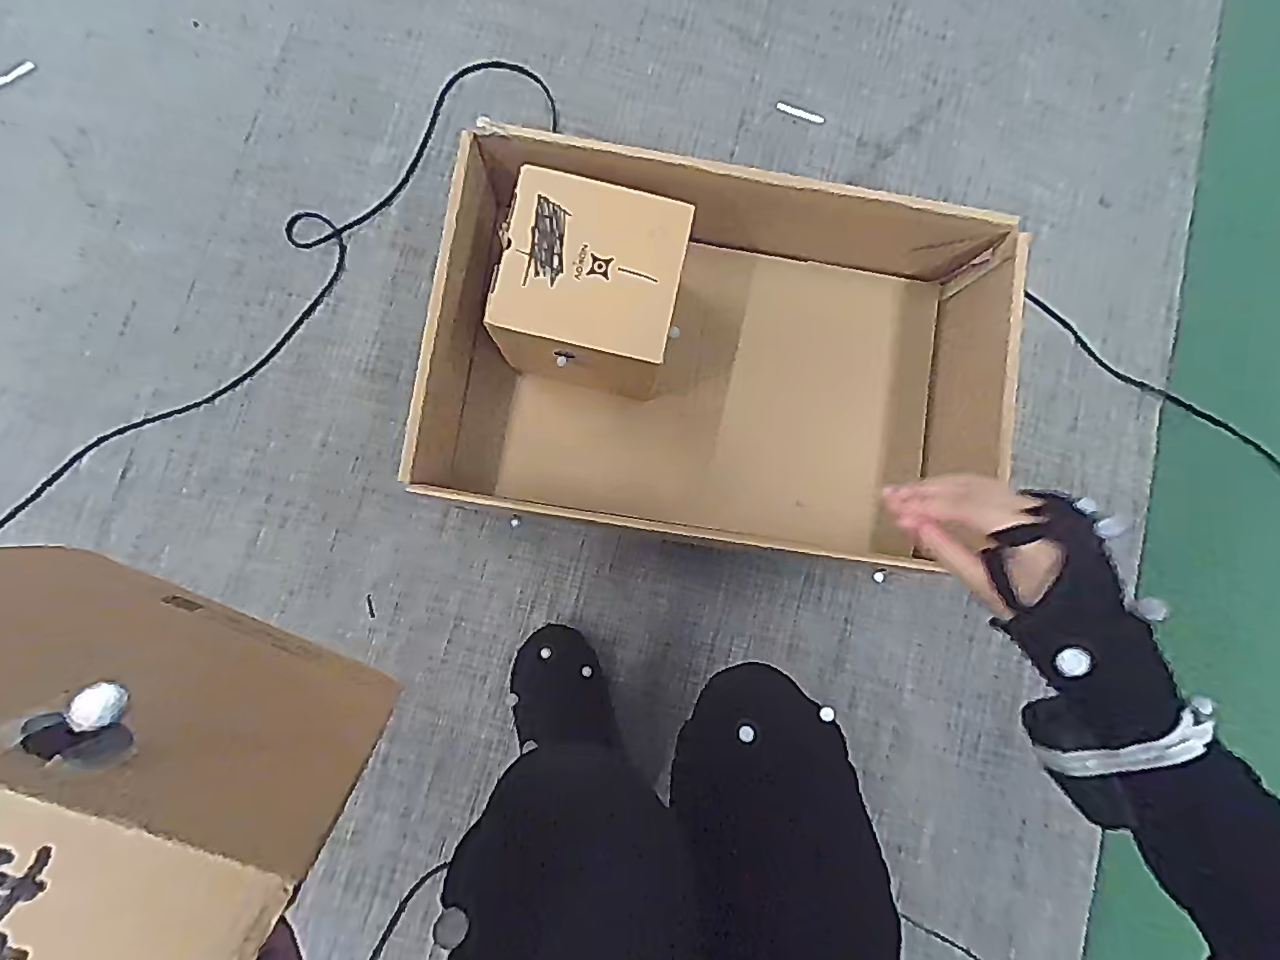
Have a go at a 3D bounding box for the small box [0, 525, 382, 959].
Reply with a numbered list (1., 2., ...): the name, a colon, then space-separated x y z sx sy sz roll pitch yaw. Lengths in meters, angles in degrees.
1. small box: -0.206 0.126 0.166 0.168 0.176 0.179 30 78 -12
